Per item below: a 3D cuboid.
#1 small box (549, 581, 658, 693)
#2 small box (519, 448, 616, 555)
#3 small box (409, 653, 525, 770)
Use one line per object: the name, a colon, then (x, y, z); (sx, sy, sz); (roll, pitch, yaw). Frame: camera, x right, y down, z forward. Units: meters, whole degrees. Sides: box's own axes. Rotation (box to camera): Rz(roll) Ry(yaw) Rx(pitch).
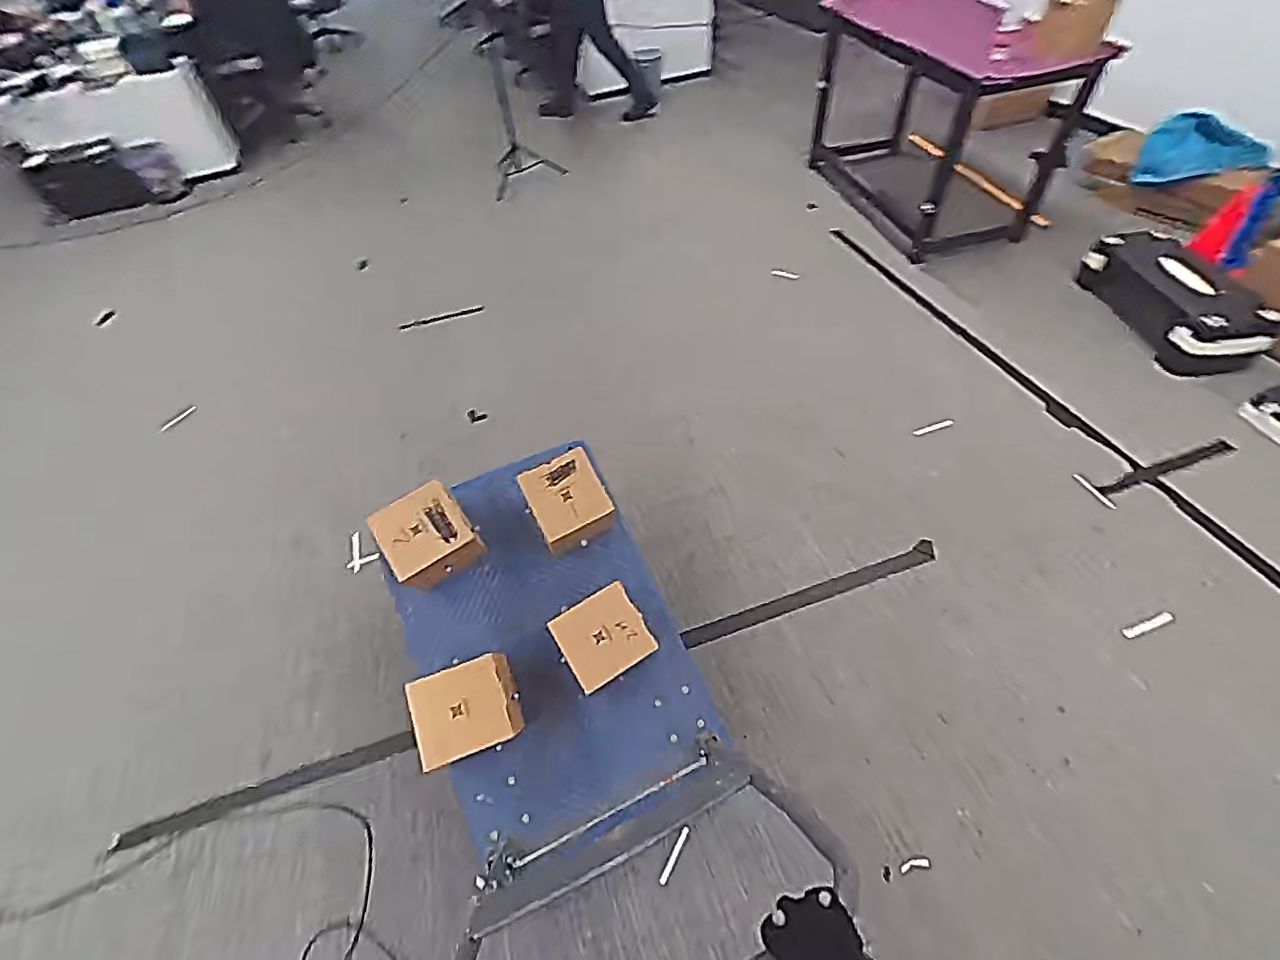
small box: (-0.079, 0.347, 1.189); (0.179, 0.176, 0.168); (-30, 75, -13)
small box: (-0.171, 0.057, 1.287); (0.168, 0.176, 0.179); (-27, 75, -13)
small box: (-0.352, 0.475, 1.124); (0.179, 0.176, 0.168); (-18, 72, -12)
